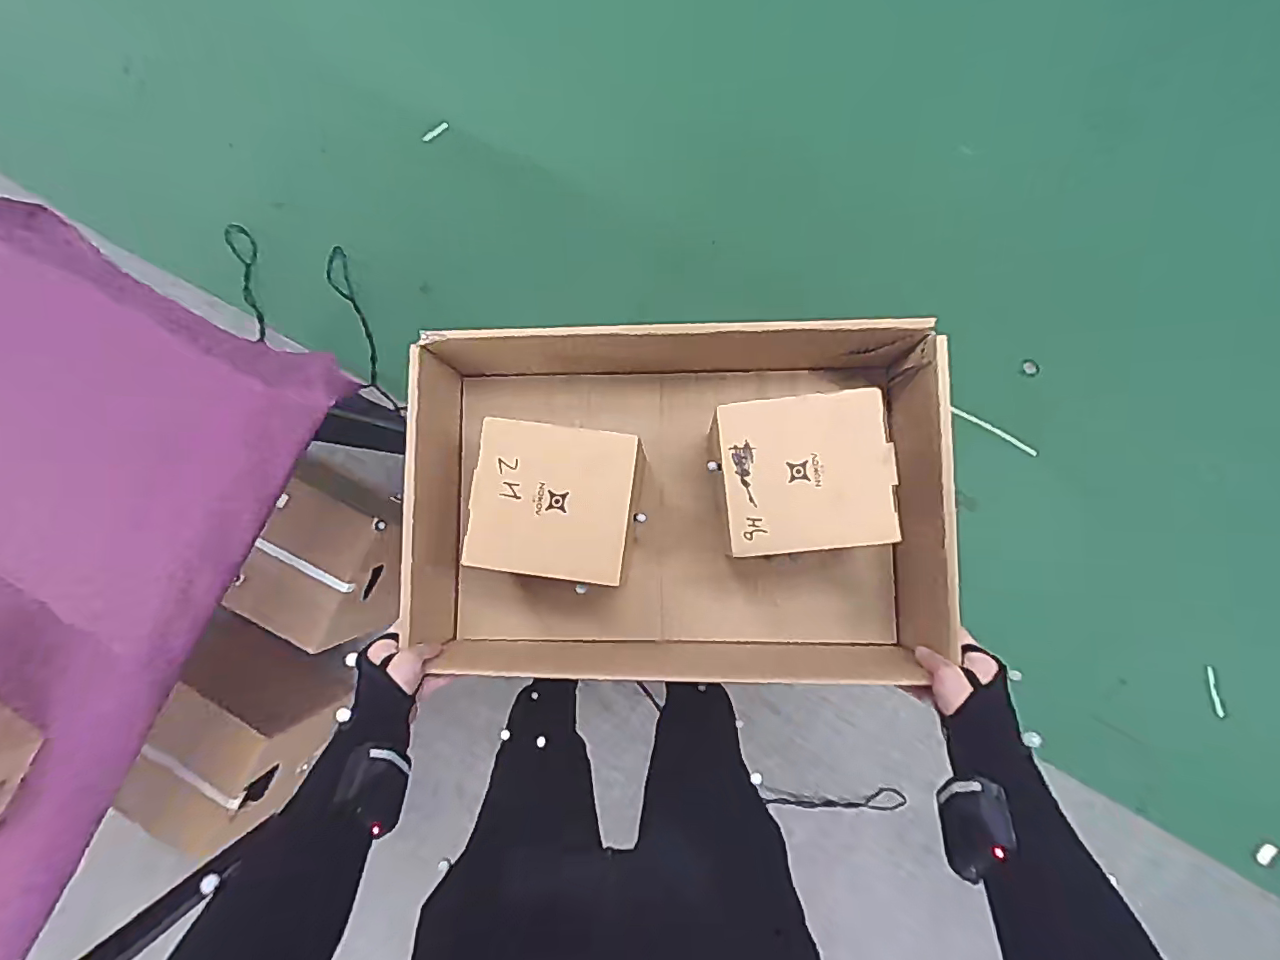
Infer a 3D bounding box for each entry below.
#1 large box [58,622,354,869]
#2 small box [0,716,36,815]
[{"bbox_3d":[-0.996,0.594,1.287,0.408,0.320,0.320,28,89,7],"label":"large box"},{"bbox_3d":[-0.891,0.362,0.625,0.179,0.176,0.168,30,91,7],"label":"small box"}]
